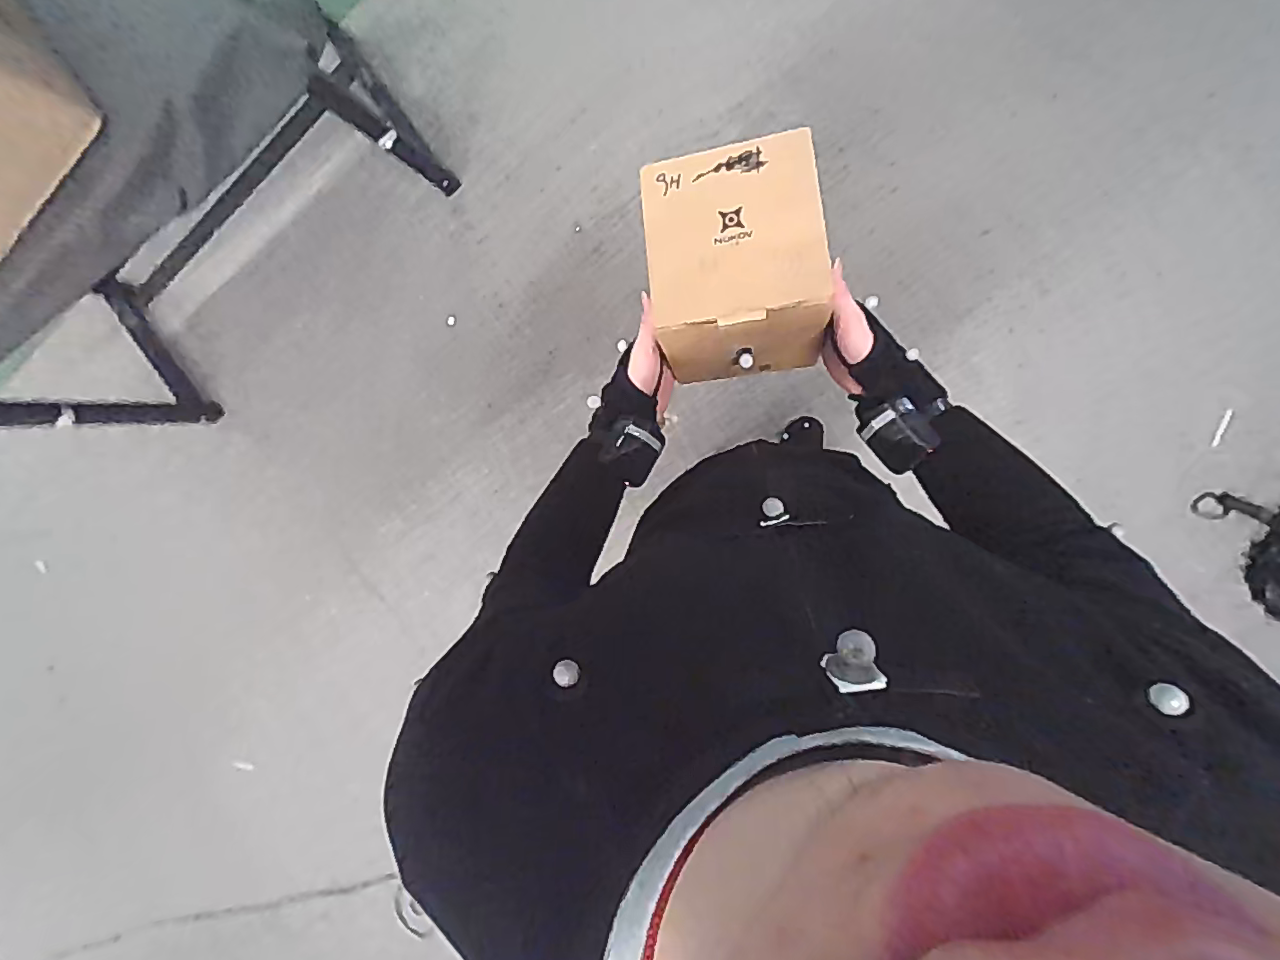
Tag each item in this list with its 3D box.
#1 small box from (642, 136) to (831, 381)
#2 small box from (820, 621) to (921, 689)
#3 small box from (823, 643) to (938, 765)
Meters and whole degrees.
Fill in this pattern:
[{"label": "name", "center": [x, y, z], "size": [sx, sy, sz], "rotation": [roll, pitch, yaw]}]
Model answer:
[{"label": "small box", "center": [0.106, -0.214, 0.580], "size": [0.168, 0.176, 0.179], "rotation": [-6, 82, 13]}, {"label": "small box", "center": [0.607, 0.503, 1.452], "size": [0.179, 0.176, 0.168], "rotation": [43, 105, 3]}, {"label": "small box", "center": [0.564, 0.526, 1.294], "size": [0.179, 0.176, 0.168], "rotation": [44, 104, 5]}]
